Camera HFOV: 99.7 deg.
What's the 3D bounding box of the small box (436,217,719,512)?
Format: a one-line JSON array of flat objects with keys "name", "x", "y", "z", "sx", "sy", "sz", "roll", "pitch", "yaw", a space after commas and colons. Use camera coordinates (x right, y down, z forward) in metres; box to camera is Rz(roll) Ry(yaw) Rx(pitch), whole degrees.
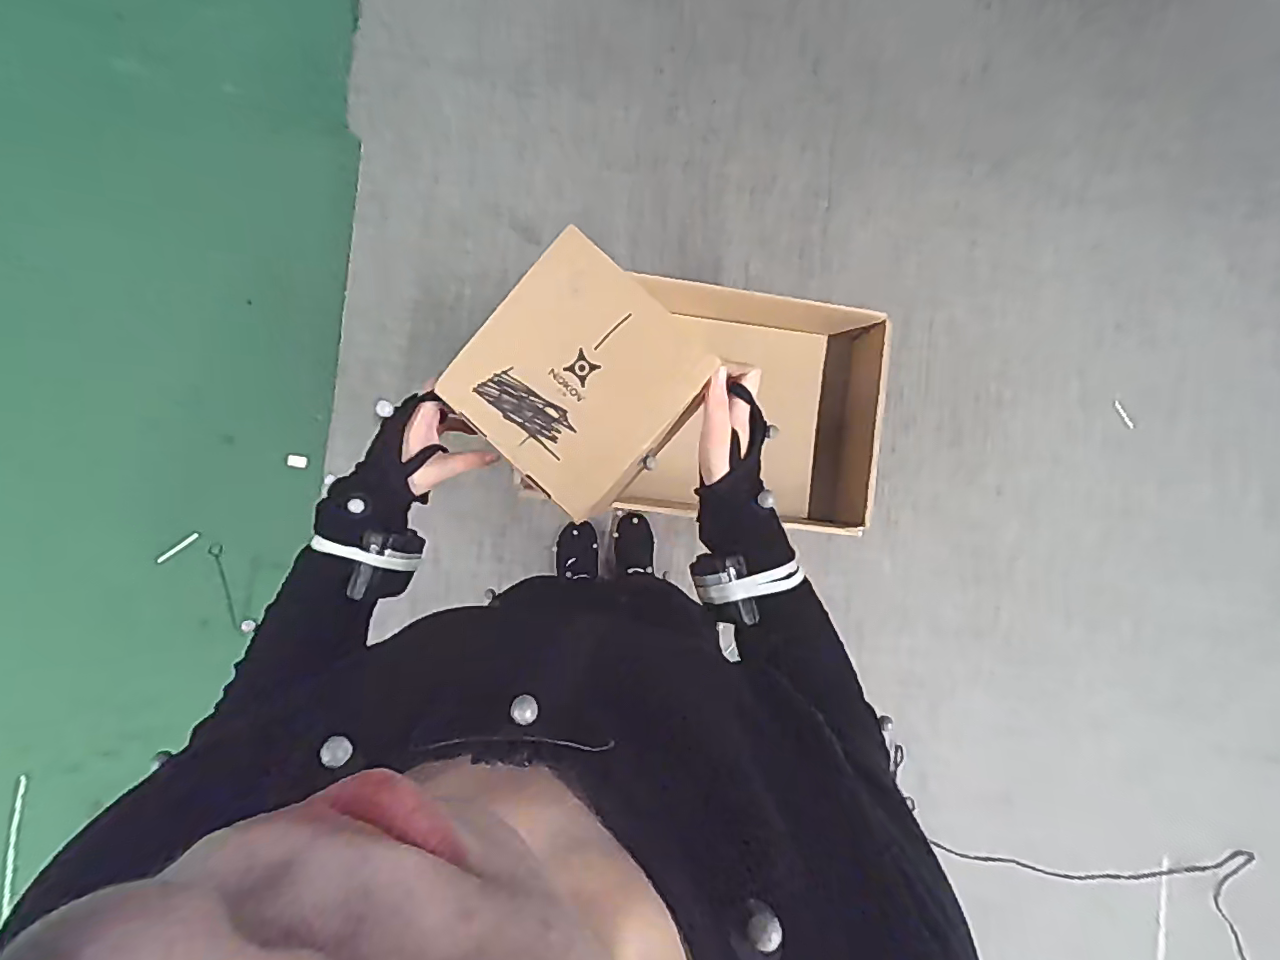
[{"name": "small box", "x": -0.043, "y": -0.093, "z": 0.506, "sx": 0.168, "sy": 0.176, "sz": 0.179, "roll": 43, "pitch": 96, "yaw": 3}]
